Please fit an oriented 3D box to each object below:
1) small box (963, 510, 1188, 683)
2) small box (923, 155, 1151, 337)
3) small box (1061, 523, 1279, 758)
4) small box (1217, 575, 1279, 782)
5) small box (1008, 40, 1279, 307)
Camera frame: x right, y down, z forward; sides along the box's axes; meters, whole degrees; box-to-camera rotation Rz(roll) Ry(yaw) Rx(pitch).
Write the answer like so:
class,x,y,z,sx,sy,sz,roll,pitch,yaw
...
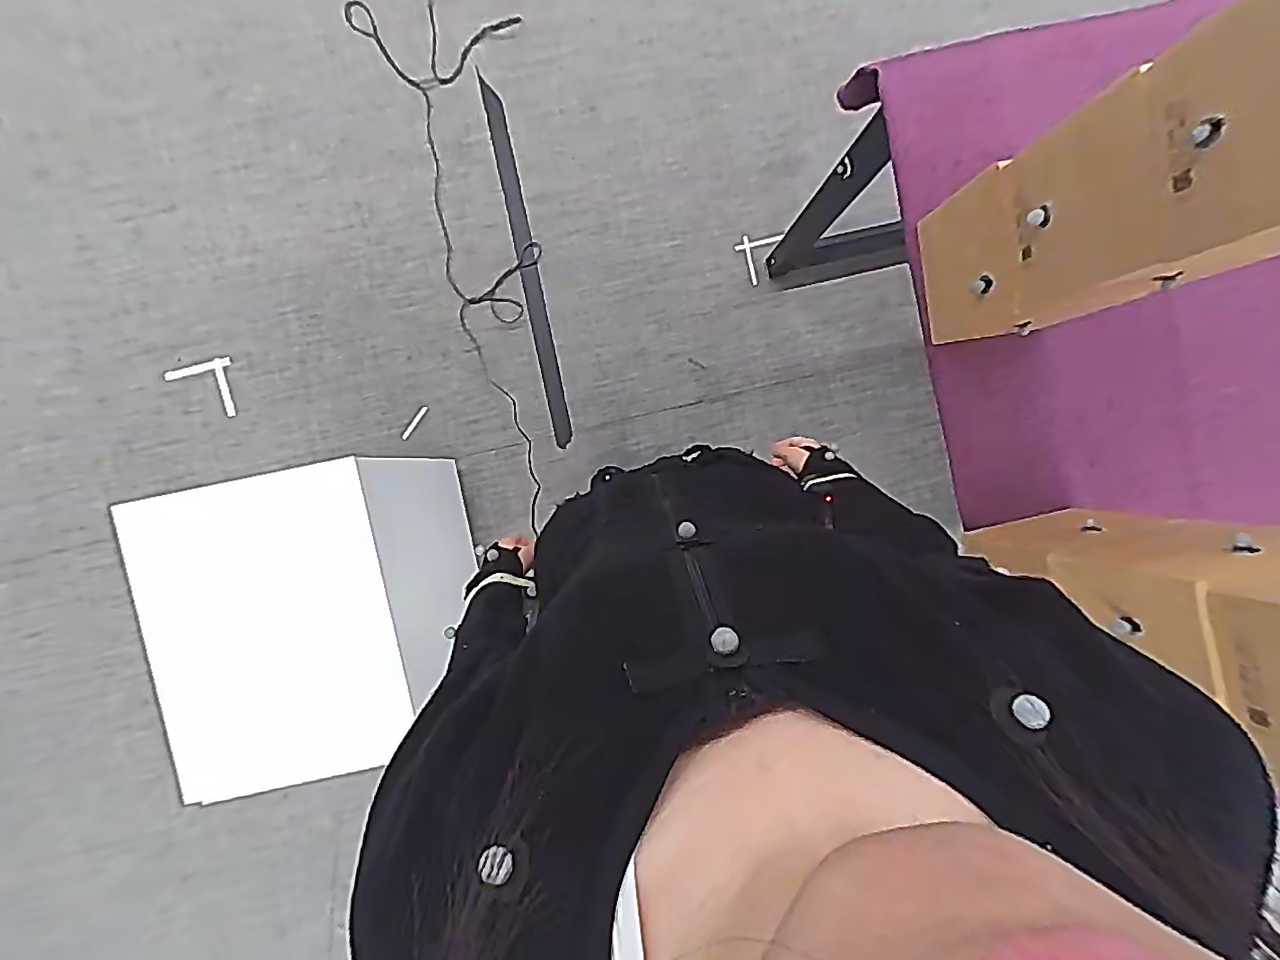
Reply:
class,x,y,z,sx,sy,sz,roll,pitch,yaw
small box,0.572,0.140,0.713,0.179,0.176,0.168,-12,91,-1
small box,0.493,-0.290,0.693,0.168,0.176,0.179,-9,92,-2
small box,0.576,0.145,0.551,0.179,0.176,0.168,-13,91,-3
small box,0.594,0.155,0.388,0.179,0.176,0.168,-13,91,-3
small box,0.509,-0.282,0.529,0.179,0.176,0.168,-9,93,-1
